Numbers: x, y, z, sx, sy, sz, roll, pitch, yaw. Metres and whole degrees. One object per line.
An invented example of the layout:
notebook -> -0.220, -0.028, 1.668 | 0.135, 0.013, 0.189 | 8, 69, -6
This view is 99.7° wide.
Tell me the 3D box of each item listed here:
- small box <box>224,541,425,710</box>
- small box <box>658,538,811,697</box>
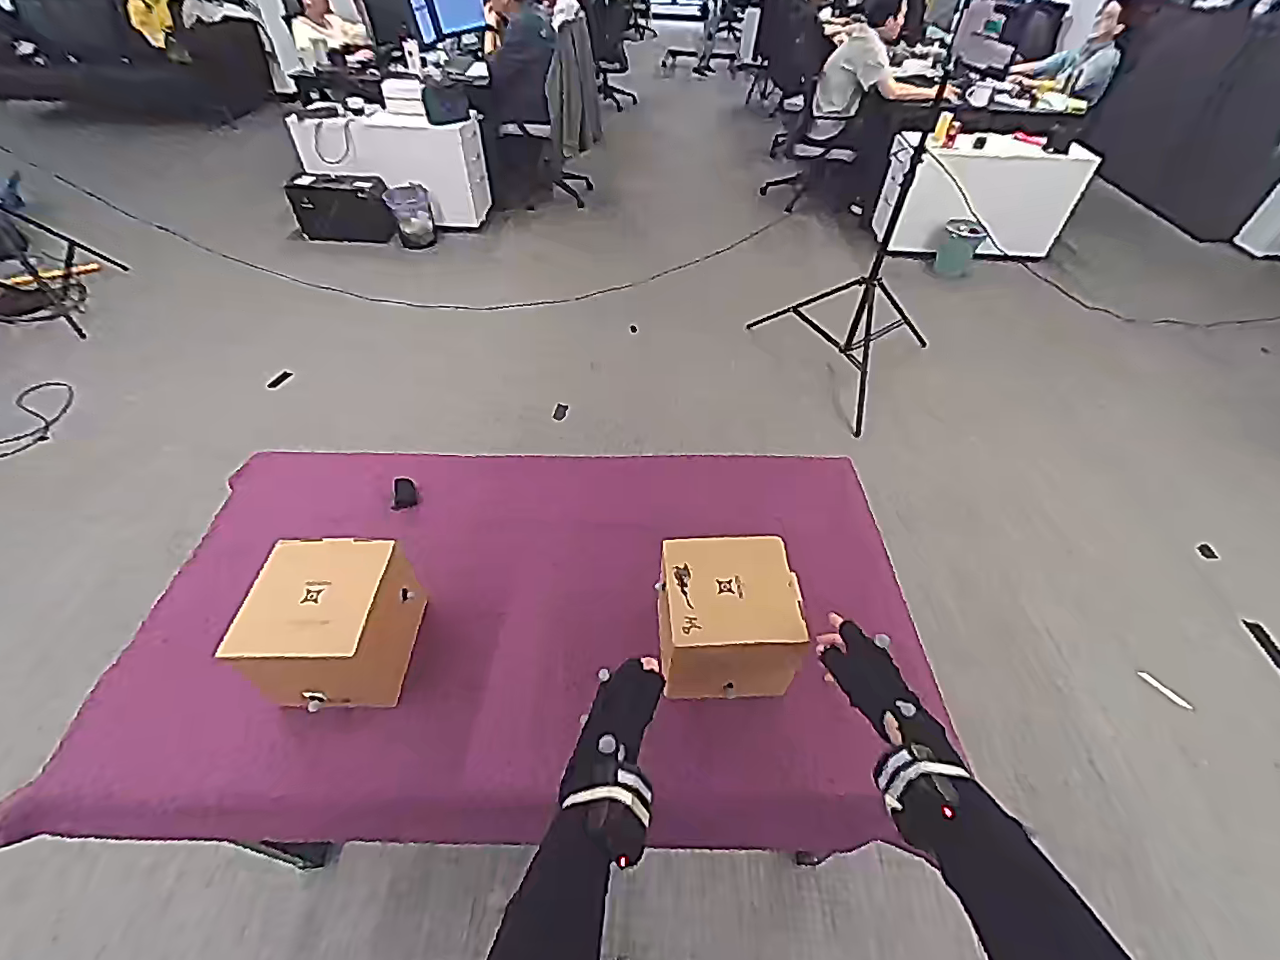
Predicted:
small box -> -0.420, 0.205, 0.761 | 0.168, 0.176, 0.179 | -1, 47, -1
small box -> 0.122, 0.200, 0.782 | 0.179, 0.176, 0.168 | -1, 46, -3
